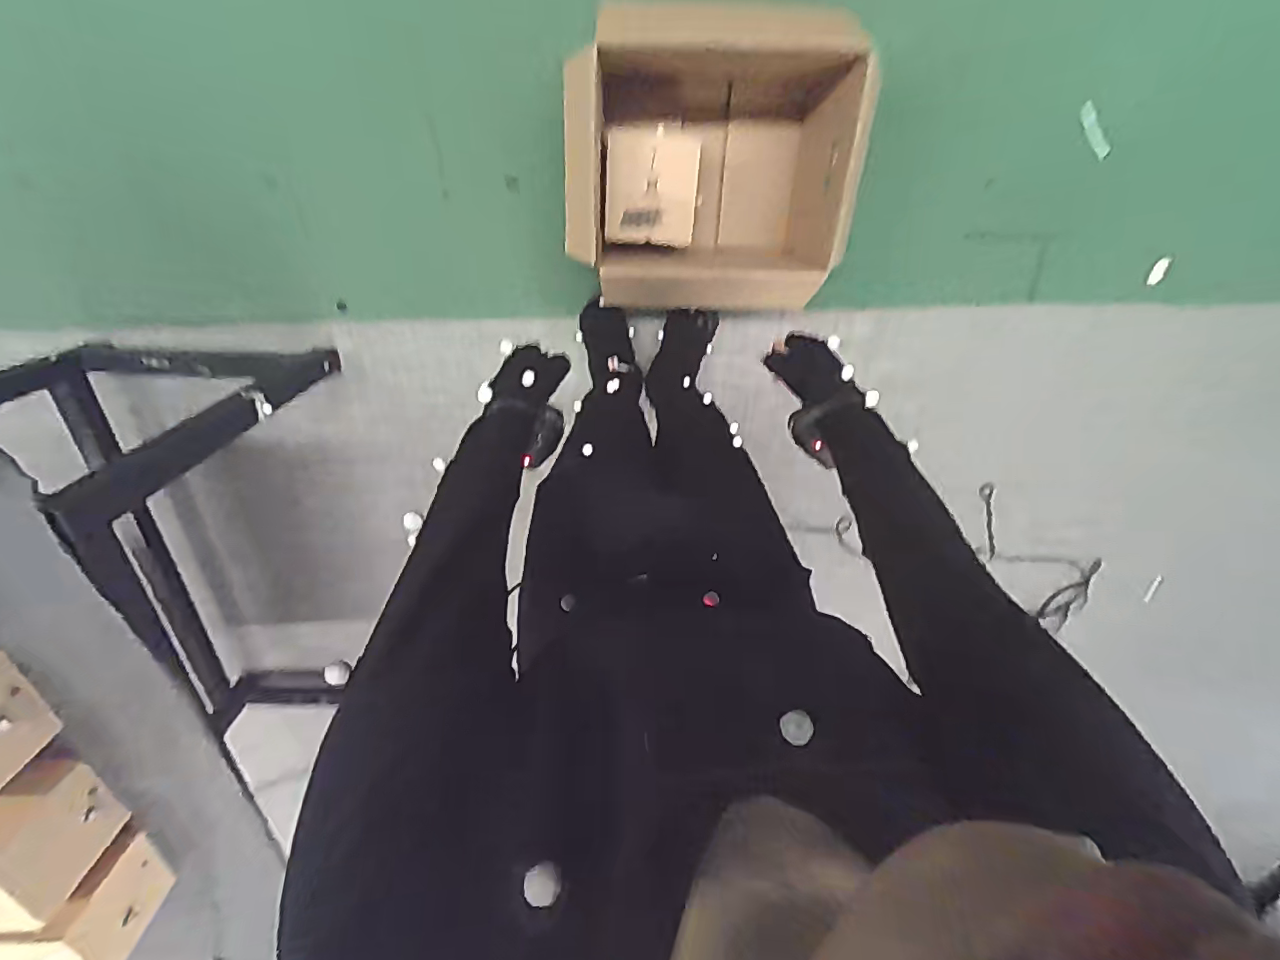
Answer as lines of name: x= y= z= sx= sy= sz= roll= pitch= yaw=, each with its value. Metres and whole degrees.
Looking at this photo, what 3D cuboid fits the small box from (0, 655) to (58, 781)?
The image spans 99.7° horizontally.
small box: x=-0.956 y=0.346 z=0.708 sx=0.179 sy=0.176 sz=0.168 roll=0 pitch=119 yaw=-1
